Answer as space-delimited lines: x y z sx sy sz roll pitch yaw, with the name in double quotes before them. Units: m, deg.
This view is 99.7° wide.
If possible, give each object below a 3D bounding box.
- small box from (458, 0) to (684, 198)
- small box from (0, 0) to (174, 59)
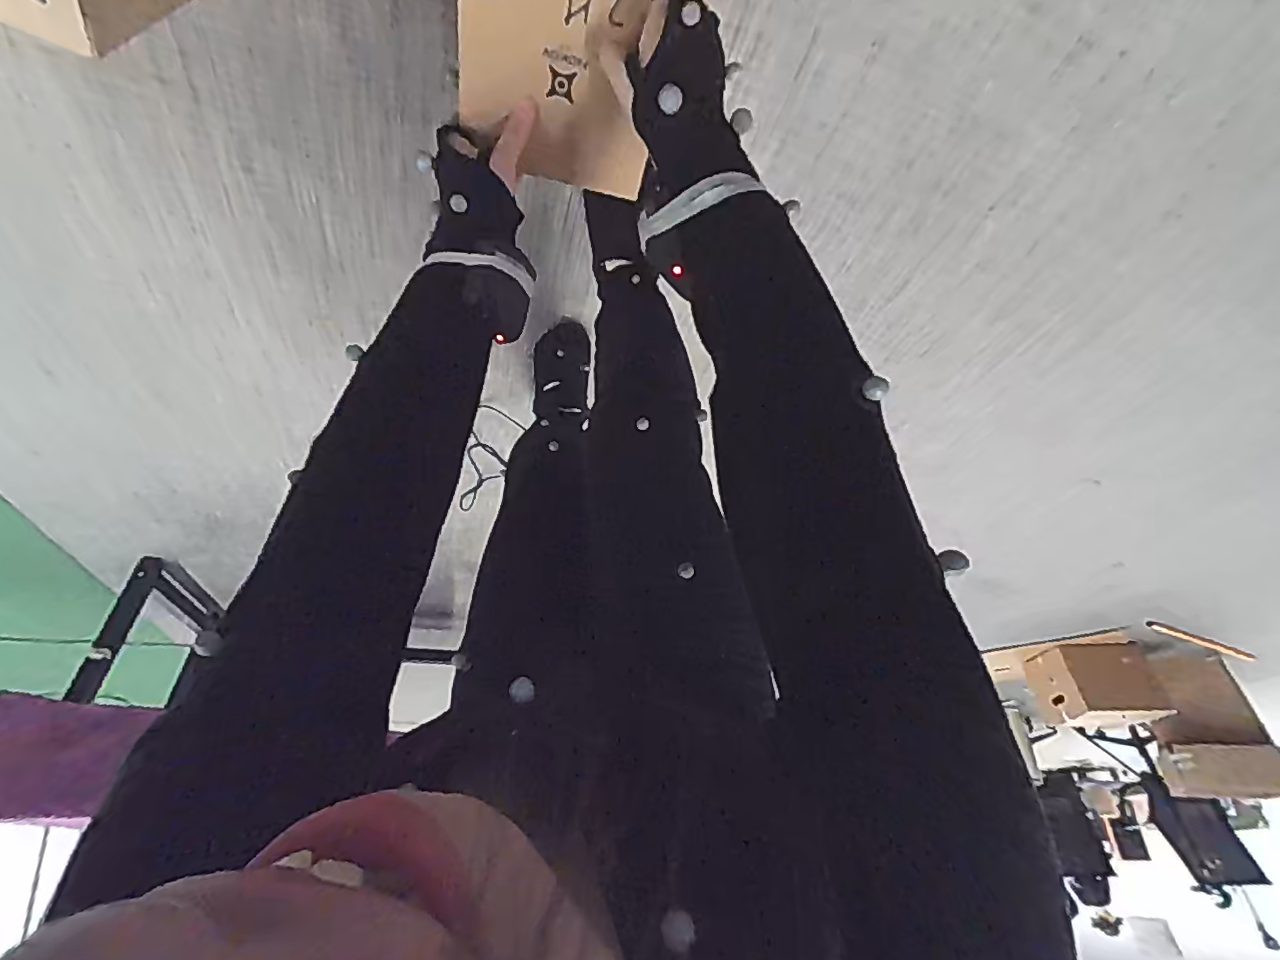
"small box" -0.064 -0.397 0.485 0.168 0.176 0.179 7 144 -13
"small box" -0.465 -0.460 0.383 0.179 0.176 0.168 15 141 -20
